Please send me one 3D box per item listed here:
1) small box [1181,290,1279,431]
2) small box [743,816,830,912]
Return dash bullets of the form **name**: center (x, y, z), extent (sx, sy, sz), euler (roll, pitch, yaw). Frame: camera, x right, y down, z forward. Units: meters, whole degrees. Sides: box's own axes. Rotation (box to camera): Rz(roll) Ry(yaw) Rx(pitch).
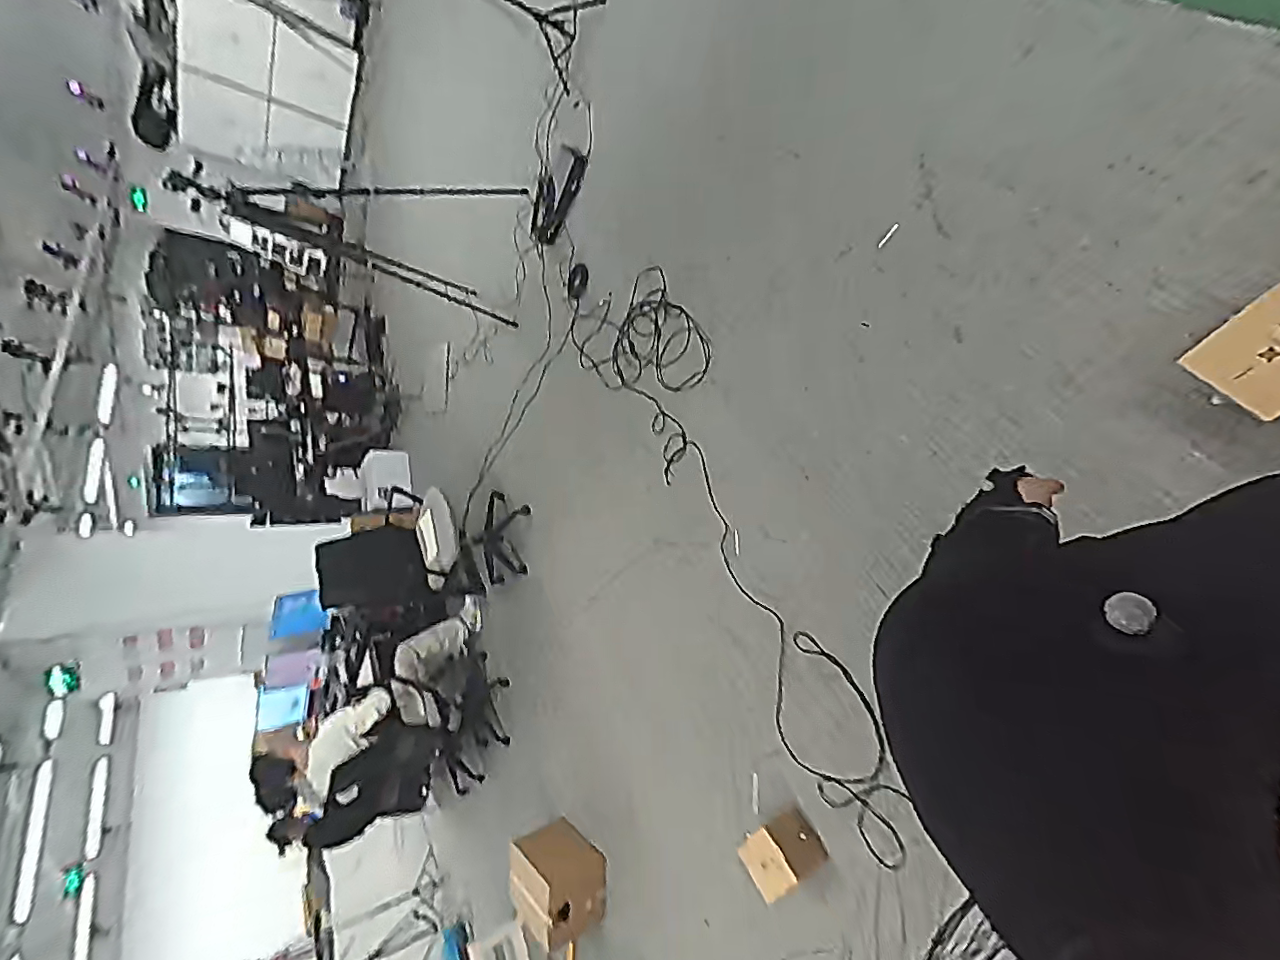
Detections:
- **small box**: center (1.101, -0.201, 0.928), extent (0.179, 0.176, 0.168), euler (-56, 49, 36)
- **small box**: center (0.467, 1.214, 1.716), extent (0.168, 0.176, 0.179), euler (51, 126, 39)
